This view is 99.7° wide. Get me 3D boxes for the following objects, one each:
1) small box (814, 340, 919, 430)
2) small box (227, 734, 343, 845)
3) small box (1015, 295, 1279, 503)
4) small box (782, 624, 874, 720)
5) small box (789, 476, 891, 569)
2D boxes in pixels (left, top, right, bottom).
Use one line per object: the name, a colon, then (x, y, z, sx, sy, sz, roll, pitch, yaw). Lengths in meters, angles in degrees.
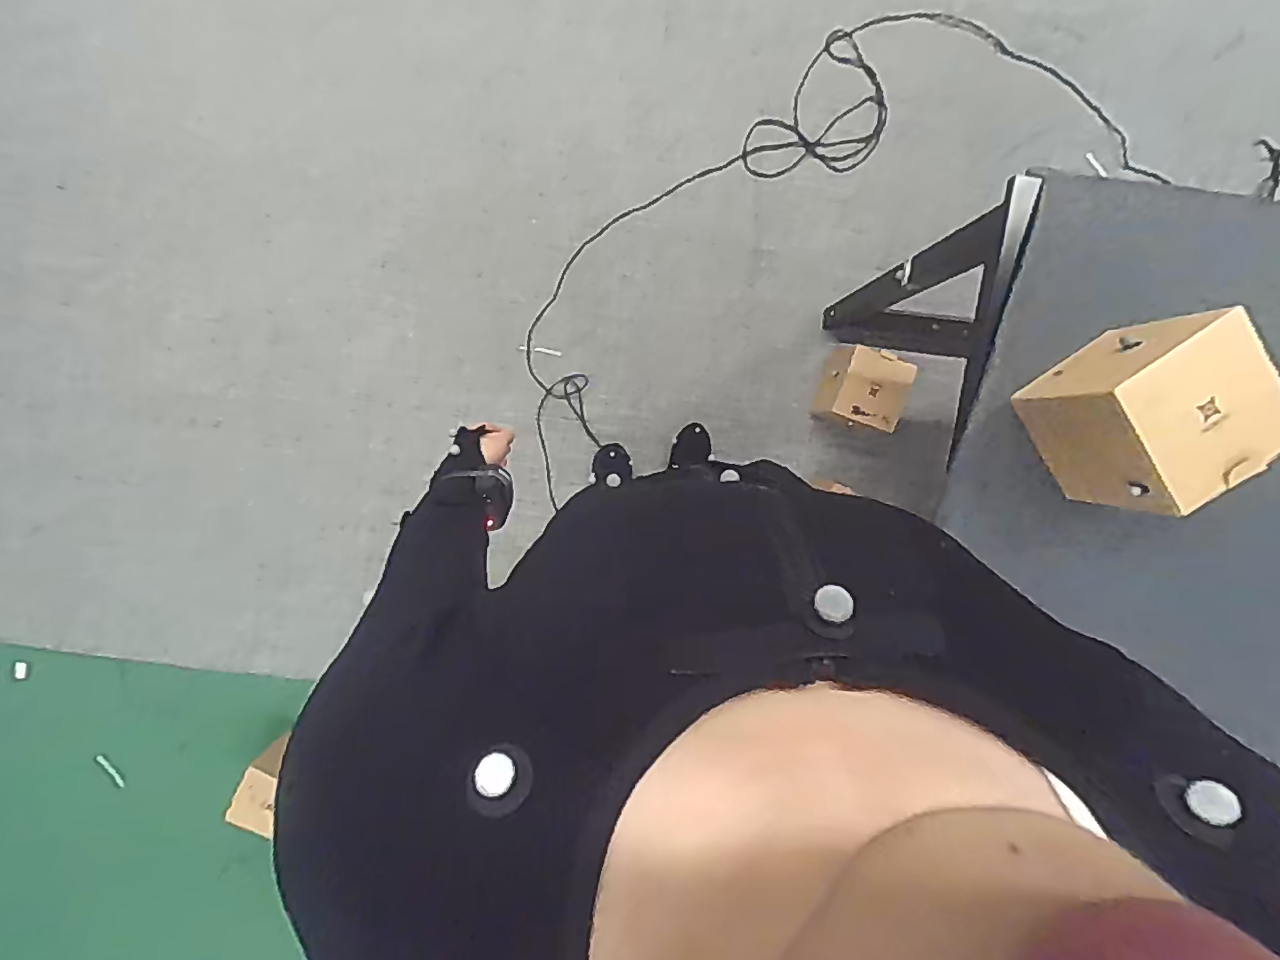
small box: (0.571, -0.236, 1.389, 0.168, 0.176, 0.179, 19, 94, -3)
small box: (-0.949, 0.829, 1.465, 0.179, 0.176, 0.168, 26, 94, -3)
small box: (0.625, -0.094, 0.673, 0.168, 0.176, 0.179, -35, 96, 2)
small box: (0.499, 0.509, 1.461, 0.168, 0.176, 0.179, 13, 96, -2)
small box: (0.513, 0.105, 1.422, 0.168, 0.176, 0.179, 27, 93, -4)
